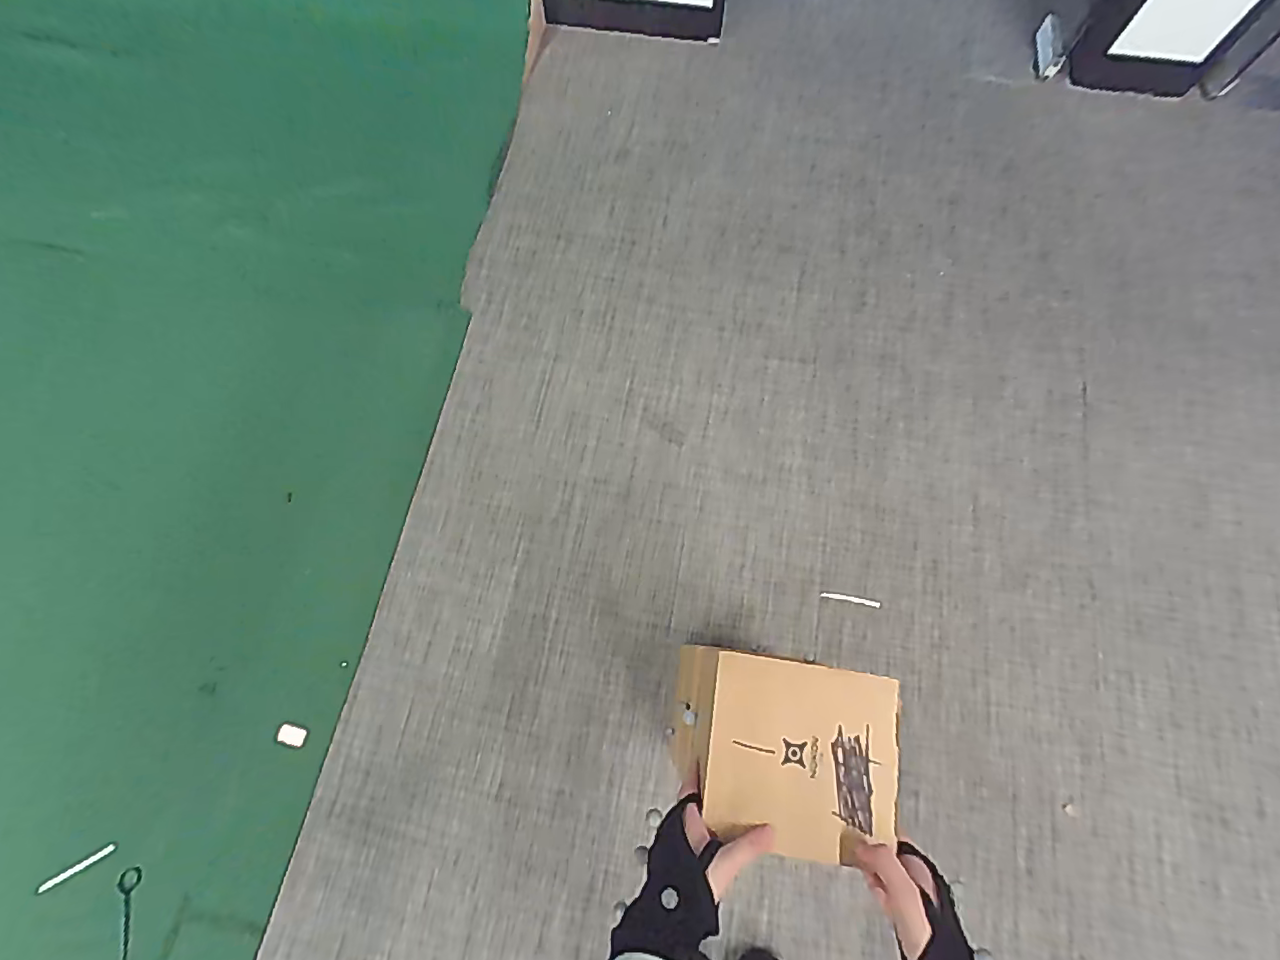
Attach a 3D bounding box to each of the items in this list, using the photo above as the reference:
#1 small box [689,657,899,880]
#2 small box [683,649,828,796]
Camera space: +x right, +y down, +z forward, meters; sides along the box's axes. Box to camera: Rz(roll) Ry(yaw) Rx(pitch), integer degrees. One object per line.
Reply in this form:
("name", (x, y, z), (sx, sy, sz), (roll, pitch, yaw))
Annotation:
("small box", (0.153, 0.286, 0.577), (0.179, 0.176, 0.168), (8, 72, 4))
("small box", (0.149, 0.331, 0.736), (0.168, 0.176, 0.179), (6, 73, 4))
